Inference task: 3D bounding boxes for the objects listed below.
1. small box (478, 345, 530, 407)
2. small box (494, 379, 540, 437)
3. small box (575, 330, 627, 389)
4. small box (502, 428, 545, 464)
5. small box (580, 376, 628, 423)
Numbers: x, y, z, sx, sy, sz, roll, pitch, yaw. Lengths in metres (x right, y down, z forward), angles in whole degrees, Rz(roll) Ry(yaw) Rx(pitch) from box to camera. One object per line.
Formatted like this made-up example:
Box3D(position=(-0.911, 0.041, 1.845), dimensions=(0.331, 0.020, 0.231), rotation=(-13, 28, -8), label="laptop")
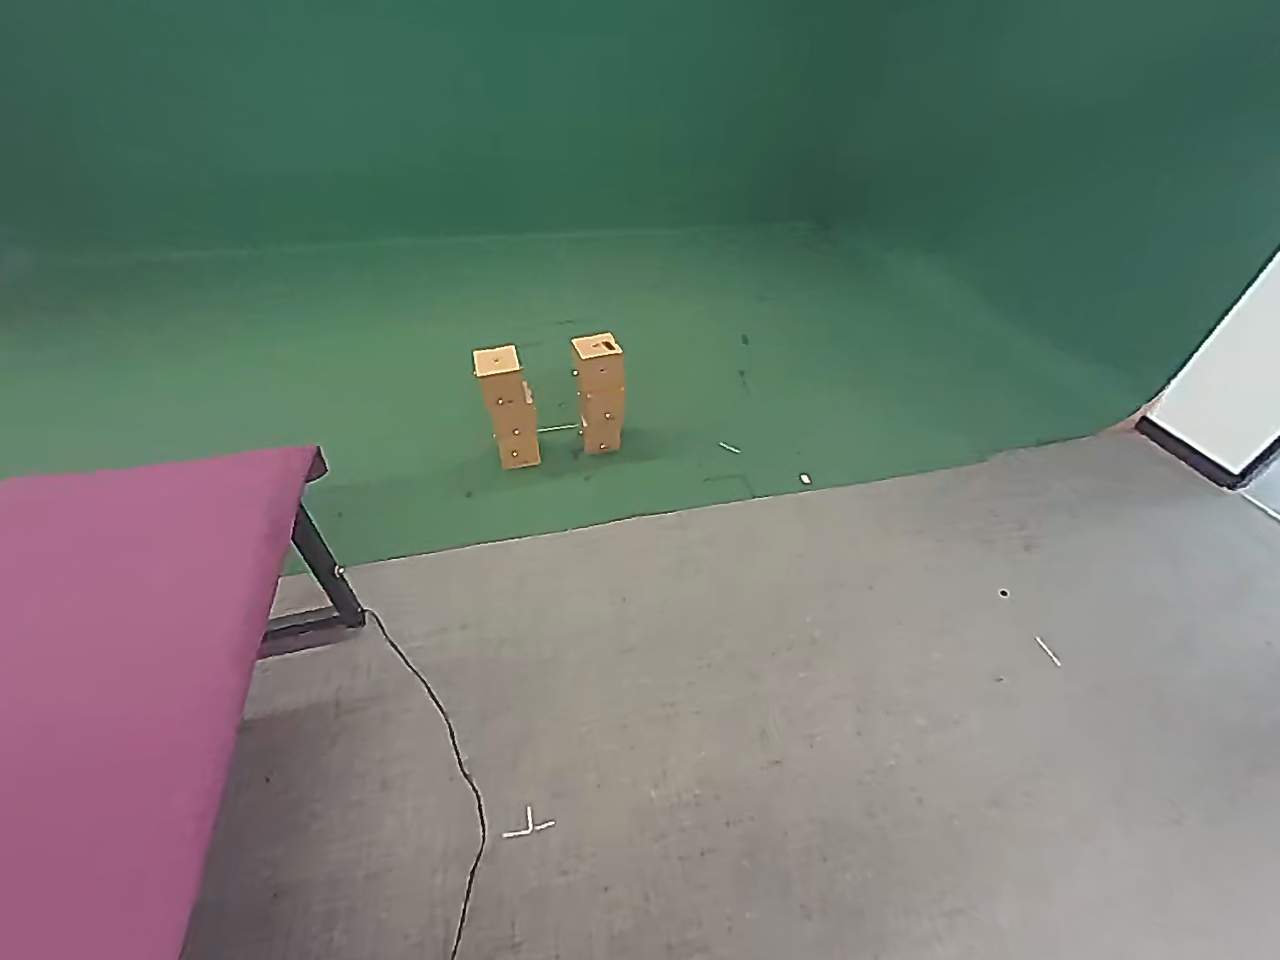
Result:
Box3D(position=(-0.547, -0.417, 2.175), dimensions=(0.168, 0.176, 0.179), rotation=(-12, 46, -10), label="small box")
Box3D(position=(-0.526, -0.303, 2.292), dimensions=(0.179, 0.176, 0.168), rotation=(-12, 45, -14), label="small box")
Box3D(position=(-0.164, -0.505, 2.269), dimensions=(0.179, 0.176, 0.168), rotation=(-15, 46, -15), label="small box")
Box3D(position=(-0.523, -0.185, 2.405), dimensions=(0.168, 0.176, 0.179), rotation=(-11, 45, -11), label="small box")
Box3D(position=(-0.160, -0.375, 2.373), dimensions=(0.168, 0.176, 0.179), rotation=(-16, 47, -17), label="small box")
